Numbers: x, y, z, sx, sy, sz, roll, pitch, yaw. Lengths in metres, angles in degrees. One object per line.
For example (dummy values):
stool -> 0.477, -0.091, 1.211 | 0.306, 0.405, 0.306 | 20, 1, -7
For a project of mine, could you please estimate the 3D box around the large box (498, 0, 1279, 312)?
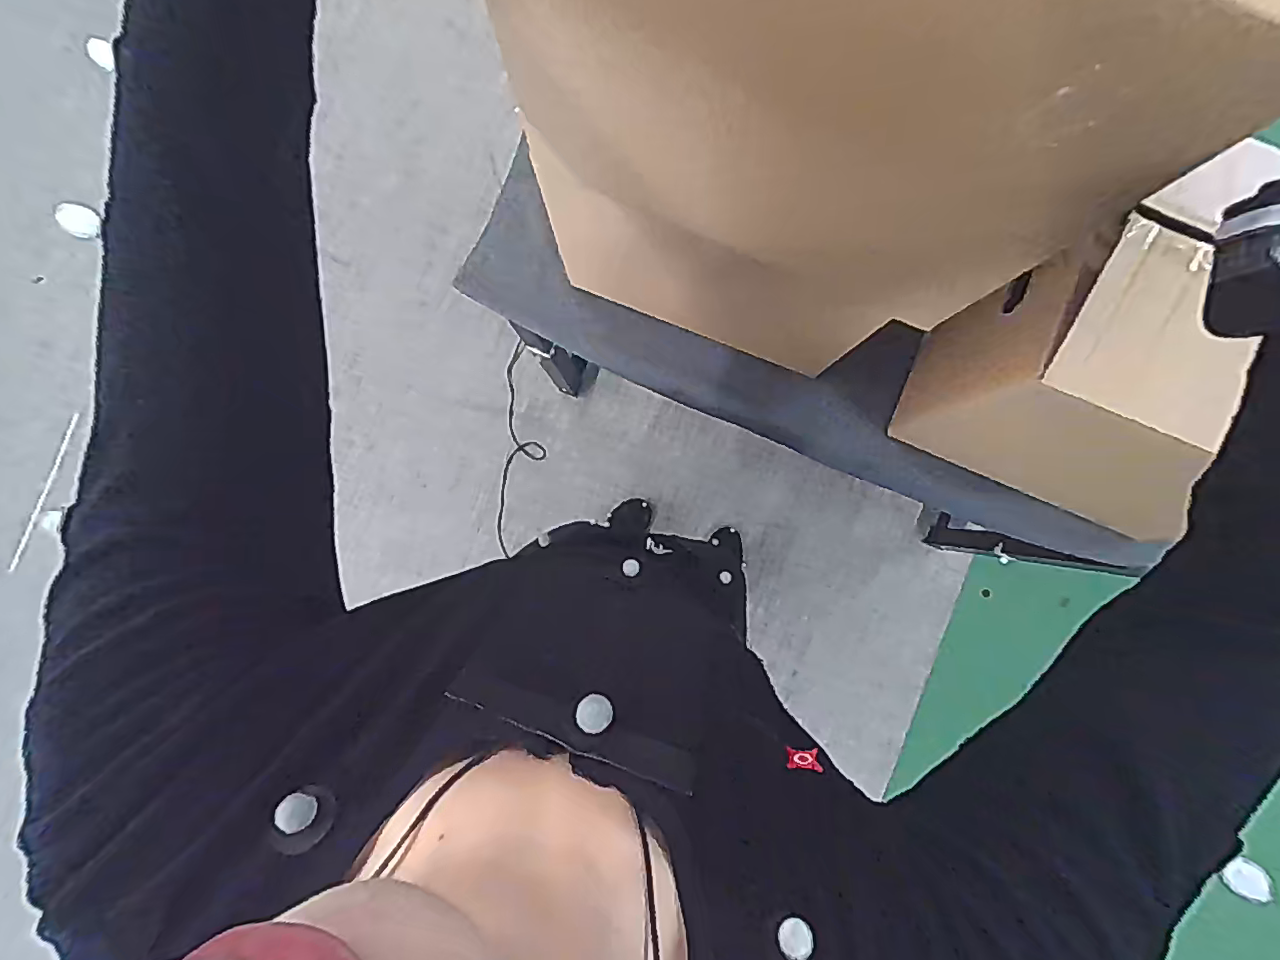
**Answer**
large box -> 0.144, -0.373, 0.371 | 0.408, 0.320, 0.320 | 22, 88, -1
